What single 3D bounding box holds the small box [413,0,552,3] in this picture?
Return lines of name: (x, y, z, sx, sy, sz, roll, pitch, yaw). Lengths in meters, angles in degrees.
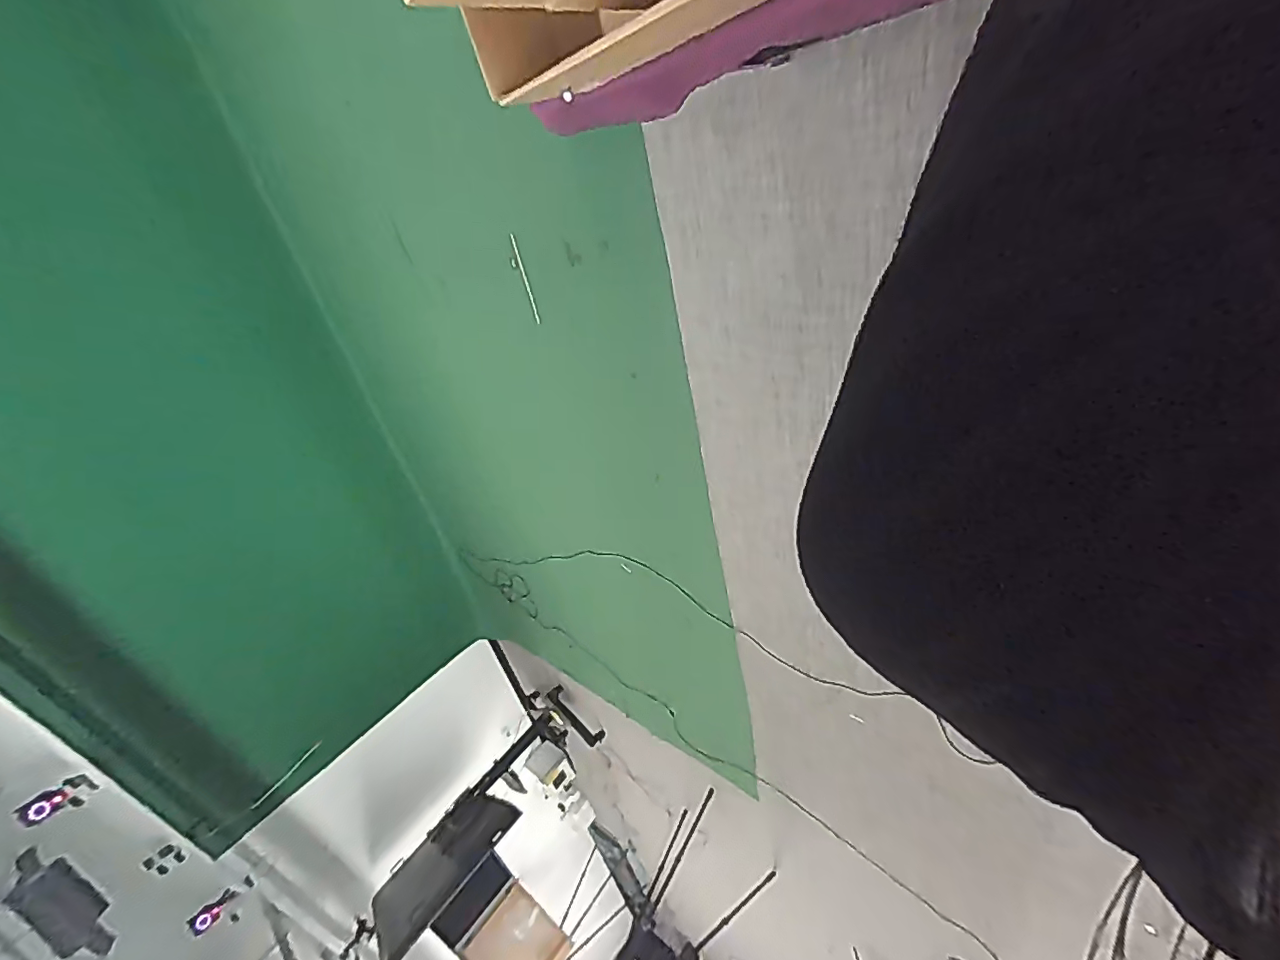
small box: (-0.112, -0.532, 0.451, 0.179, 0.176, 0.168, 12, 129, 42)
